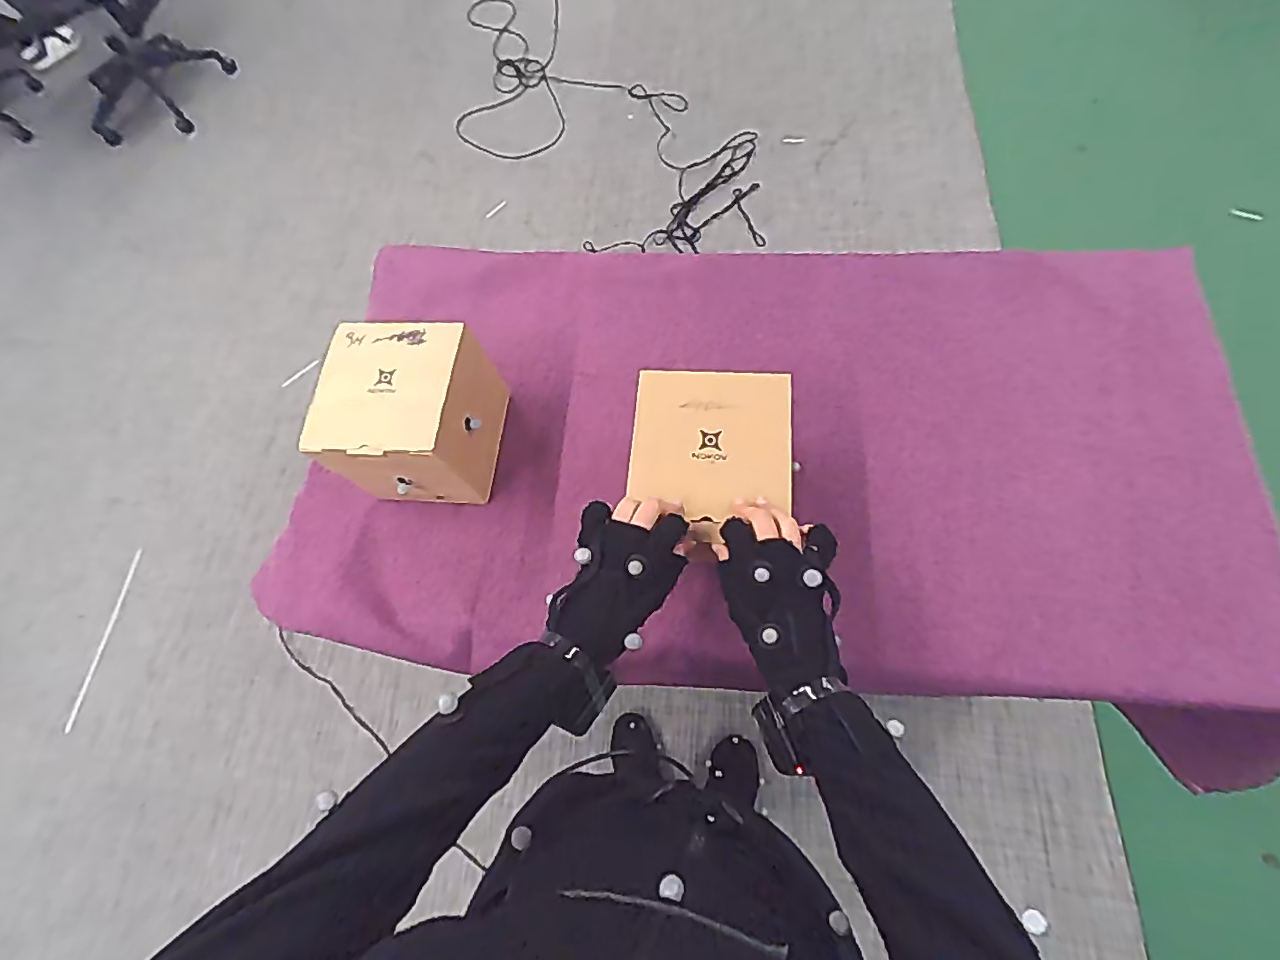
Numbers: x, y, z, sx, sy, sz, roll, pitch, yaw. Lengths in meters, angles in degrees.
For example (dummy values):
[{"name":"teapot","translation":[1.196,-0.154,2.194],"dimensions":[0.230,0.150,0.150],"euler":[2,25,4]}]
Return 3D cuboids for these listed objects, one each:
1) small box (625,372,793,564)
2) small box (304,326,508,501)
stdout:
[{"name":"small box","translation":[0.083,-0.006,0.632],"dimensions":[0.168,0.176,0.179],"euler":[3,68,7]},{"name":"small box","translation":[-0.285,-0.078,0.703],"dimensions":[0.168,0.176,0.179],"euler":[2,69,7]}]
